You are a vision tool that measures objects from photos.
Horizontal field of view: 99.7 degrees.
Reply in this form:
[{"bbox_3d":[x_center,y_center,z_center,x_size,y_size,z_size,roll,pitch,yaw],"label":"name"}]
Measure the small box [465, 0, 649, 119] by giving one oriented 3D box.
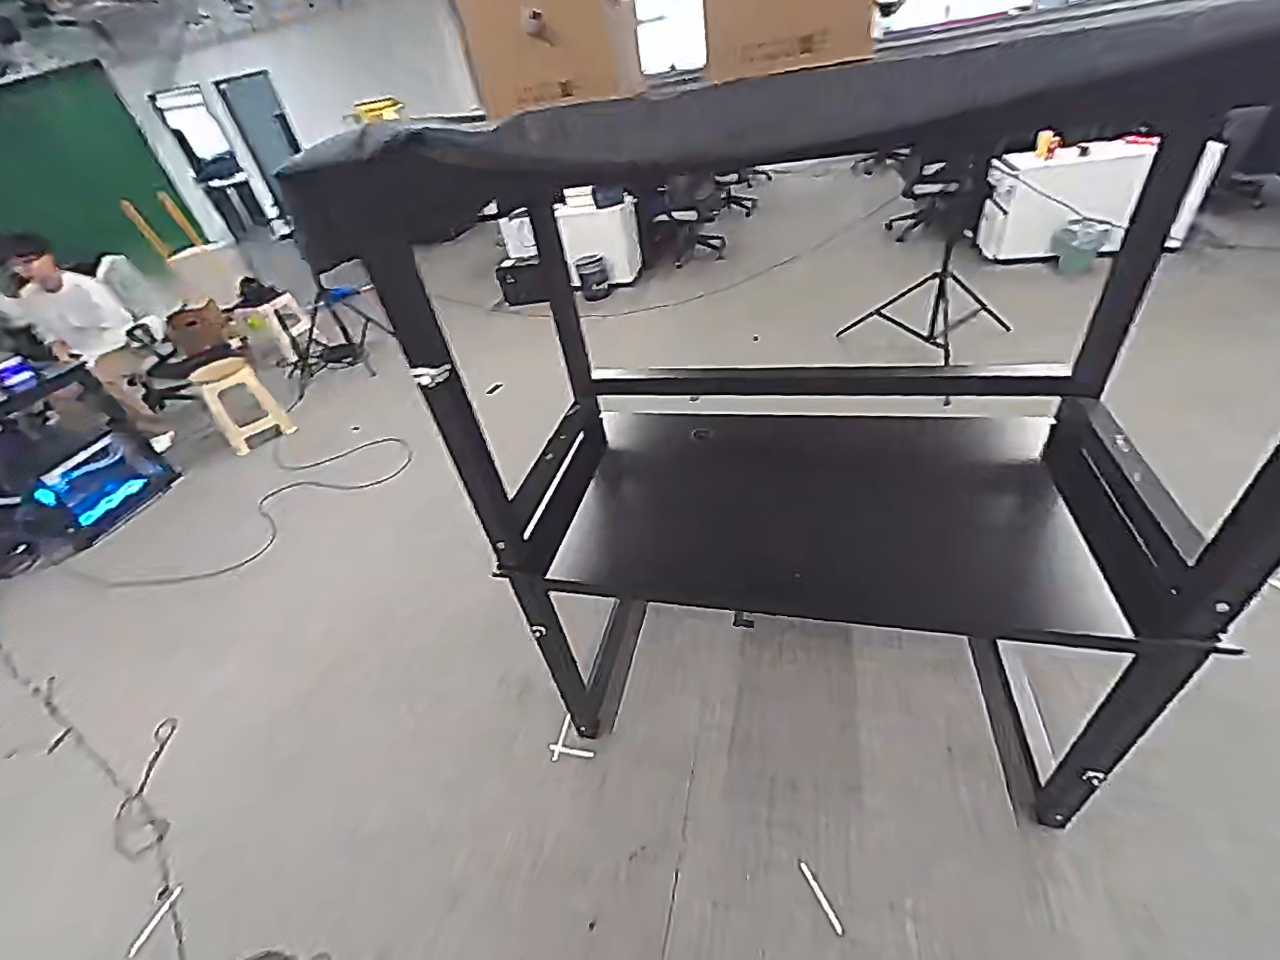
[{"bbox_3d":[-0.088,-0.534,0.630,0.168,0.176,0.179,1,38,13],"label":"small box"}]
